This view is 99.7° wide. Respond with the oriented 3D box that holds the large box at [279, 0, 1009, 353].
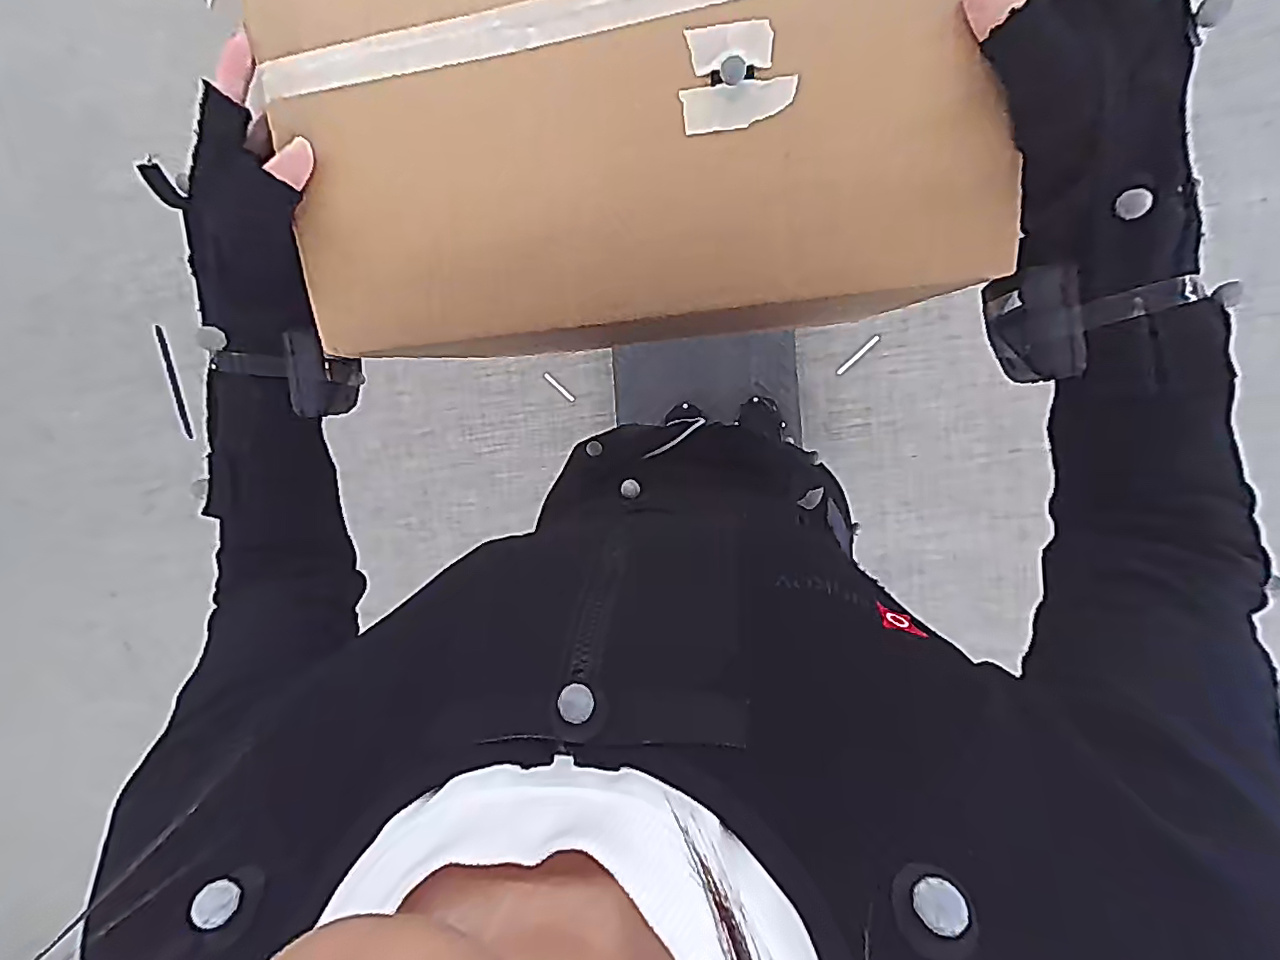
[{"bbox_3d":[0.006,-0.285,0.439,0.408,0.320,0.320,-4,103,9],"label":"large box"}]
